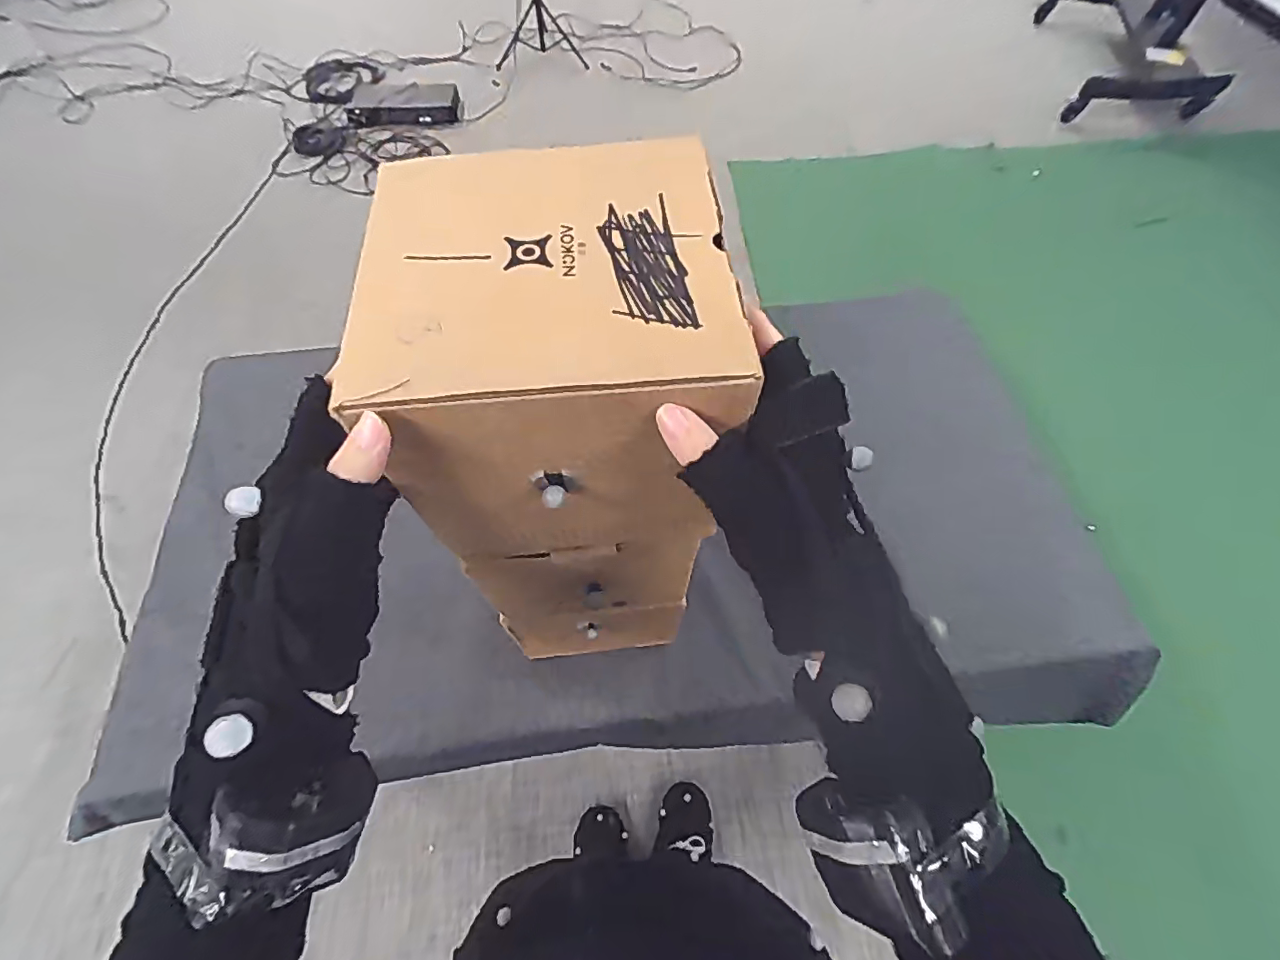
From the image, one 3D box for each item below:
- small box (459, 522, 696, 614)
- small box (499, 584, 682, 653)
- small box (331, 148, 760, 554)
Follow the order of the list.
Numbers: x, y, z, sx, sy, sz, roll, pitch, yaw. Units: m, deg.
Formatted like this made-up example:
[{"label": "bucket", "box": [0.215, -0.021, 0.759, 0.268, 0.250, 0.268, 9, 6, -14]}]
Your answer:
[{"label": "small box", "box": [-0.052, 0.011, 0.471, 0.168, 0.176, 0.179, -7, 63, -5]}, {"label": "small box", "box": [-0.054, 0.092, 0.613, 0.179, 0.176, 0.168, -5, 62, -5]}, {"label": "small box", "box": [-0.044, -0.064, 0.324, 0.179, 0.176, 0.168, -5, 62, -2]}]
